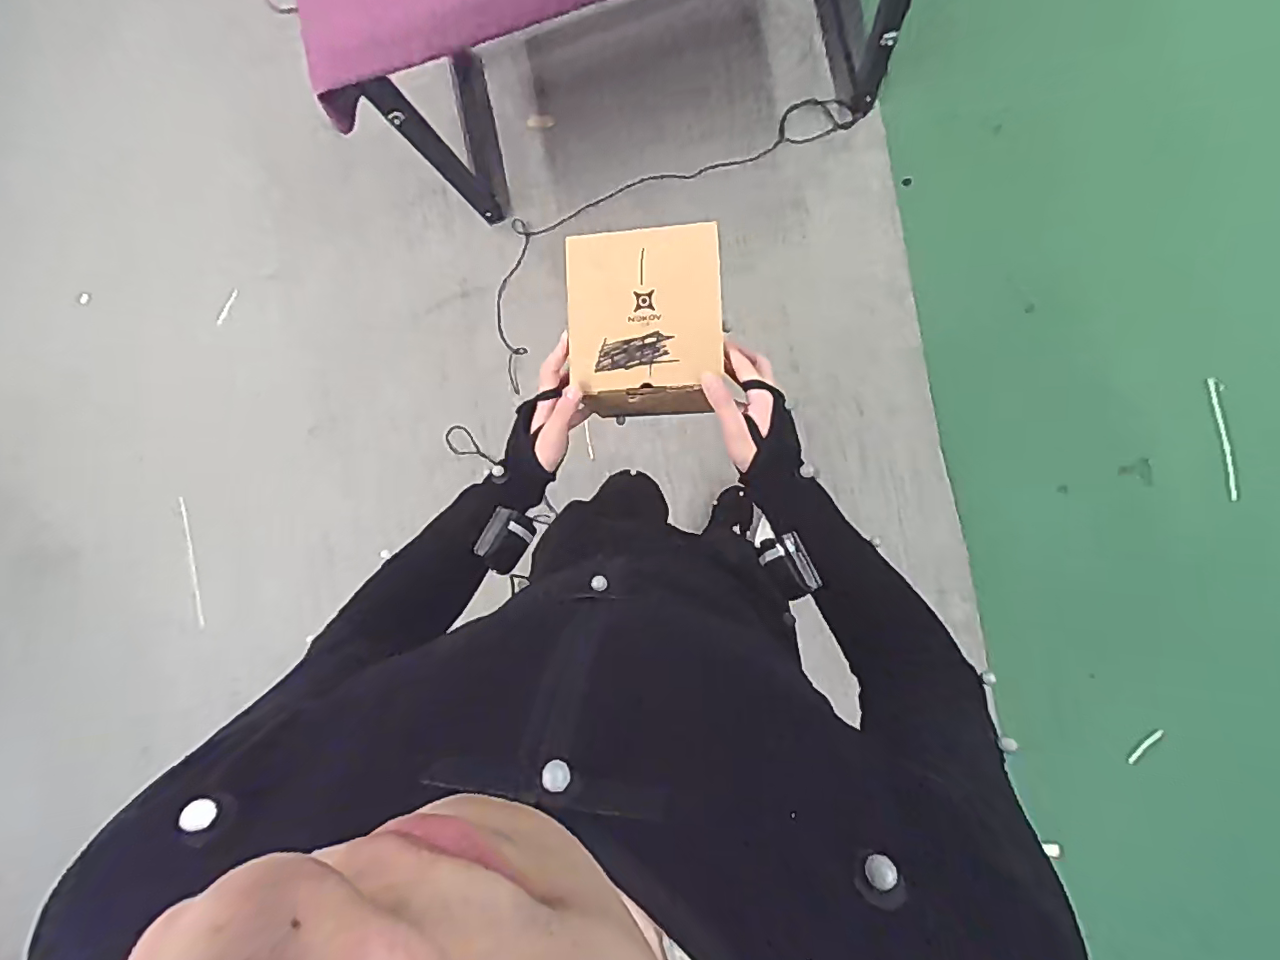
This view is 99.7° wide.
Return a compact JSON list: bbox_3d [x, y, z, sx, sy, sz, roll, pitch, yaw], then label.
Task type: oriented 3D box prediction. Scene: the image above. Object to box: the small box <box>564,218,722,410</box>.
[{"bbox_3d":[0.013,-0.181,0.647,0.168,0.176,0.179,-3,88,7],"label":"small box"}]
